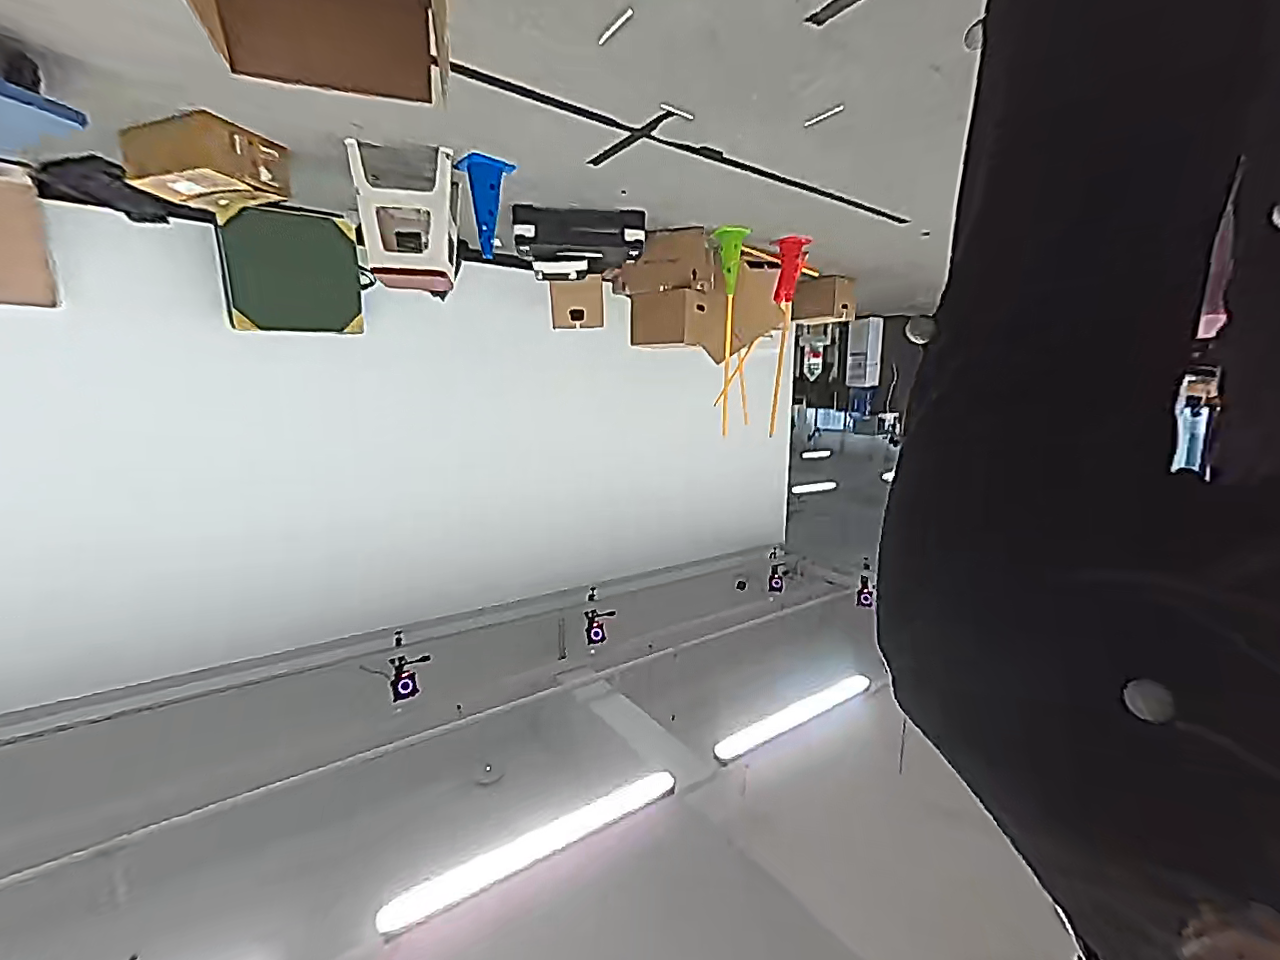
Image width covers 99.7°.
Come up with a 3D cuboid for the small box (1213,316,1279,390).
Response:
[{"bbox_3d":[1.532,-0.305,1.304,0.168,0.176,0.179,-6,-169,-37],"label":"small box"}]
